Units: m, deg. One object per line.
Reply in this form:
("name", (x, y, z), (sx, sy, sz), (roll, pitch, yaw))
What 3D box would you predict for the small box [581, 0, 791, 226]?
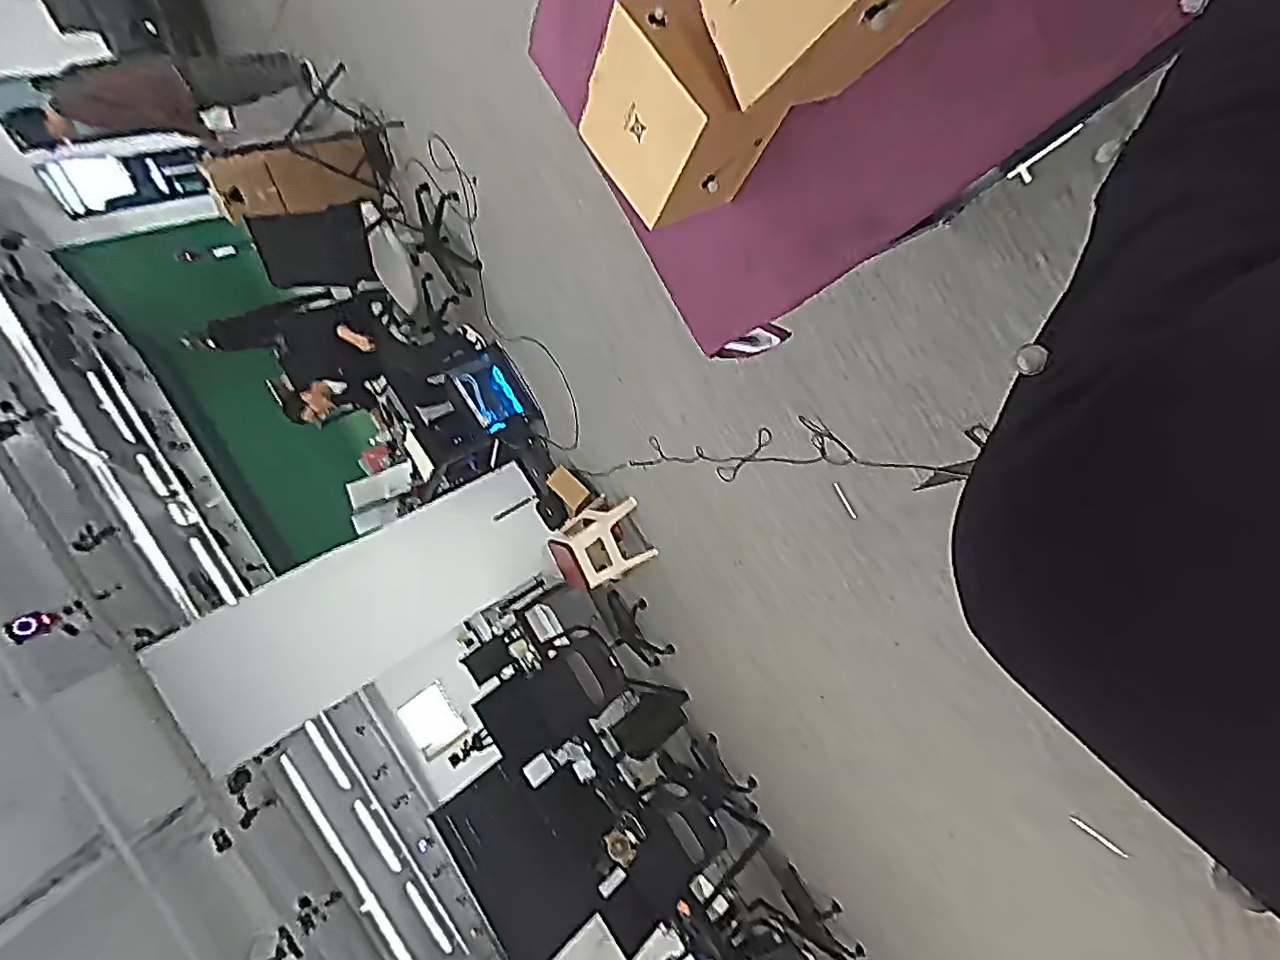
("small box", (0.056, -0.469, 0.690), (0.179, 0.176, 0.168), (55, 152, 6))
